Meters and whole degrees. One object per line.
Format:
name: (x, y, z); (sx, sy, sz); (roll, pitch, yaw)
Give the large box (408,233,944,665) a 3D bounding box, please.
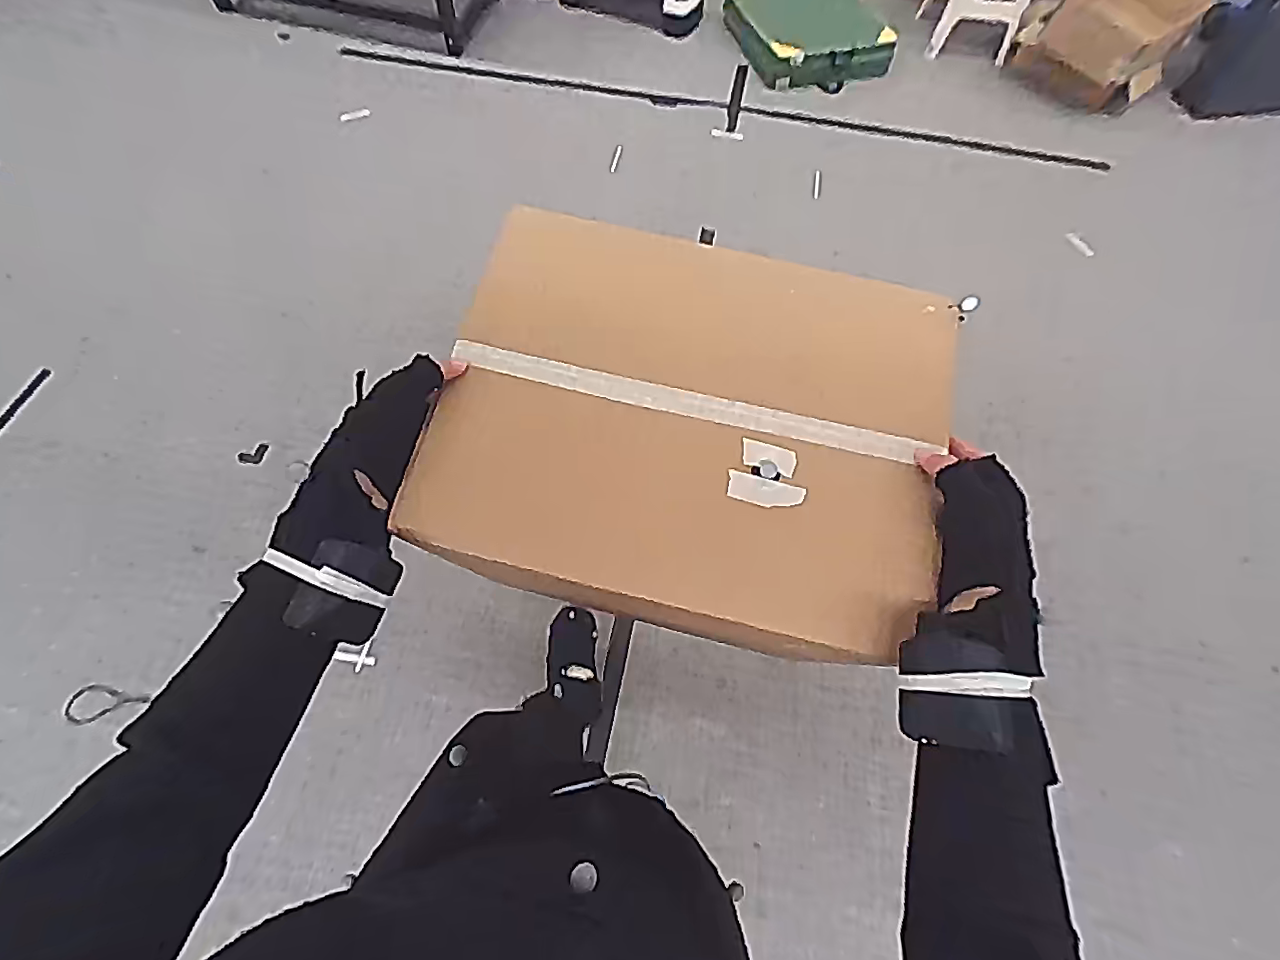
large box: (0.041, -0.003, 0.589); (0.408, 0.320, 0.320); (13, 74, 2)
